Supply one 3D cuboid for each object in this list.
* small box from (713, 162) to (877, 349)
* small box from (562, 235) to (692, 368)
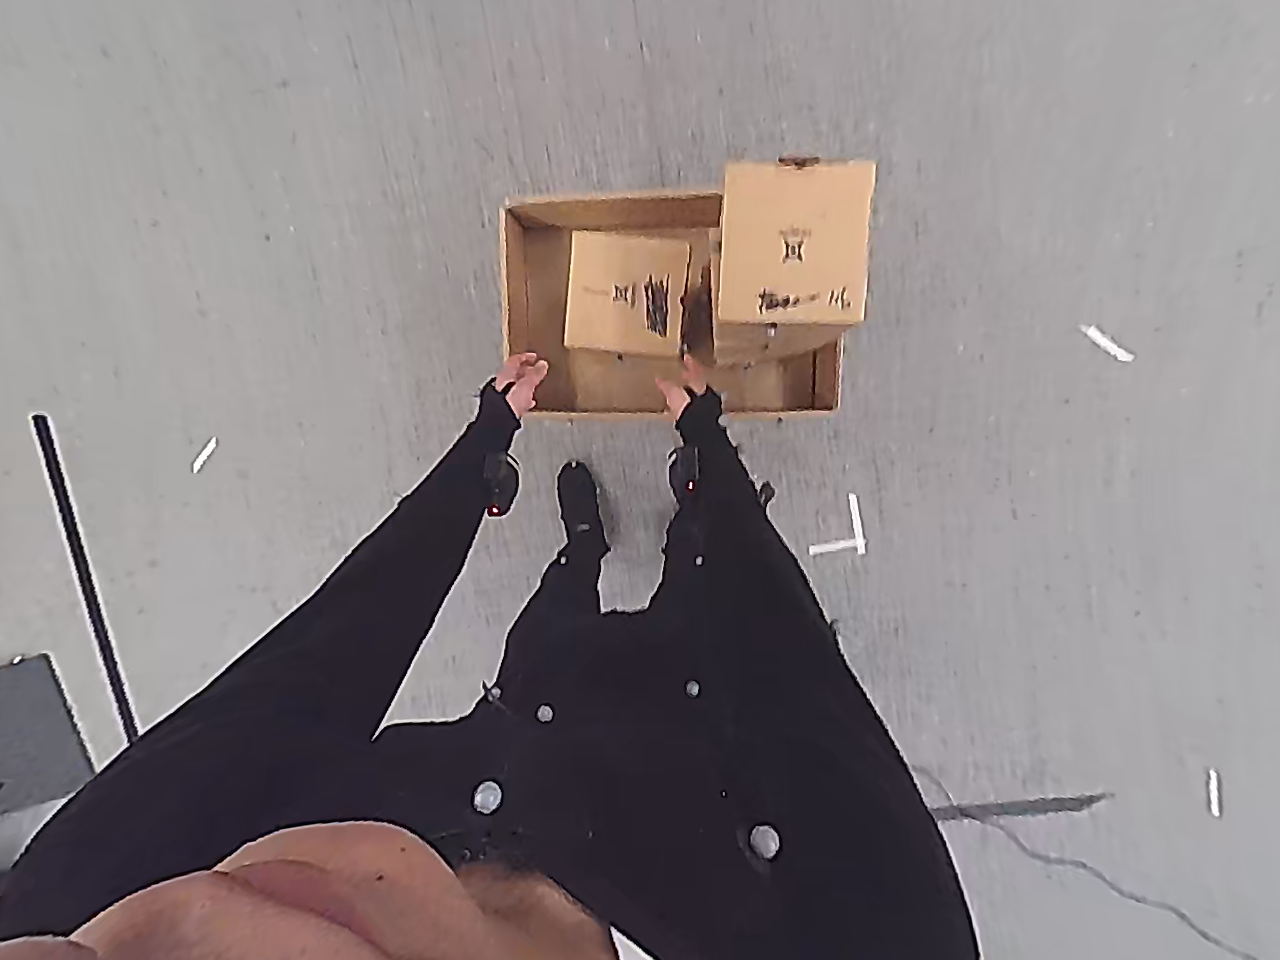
[{"bbox_3d":[0.180,-0.268,0.678,0.168,0.176,0.179,3,96,7],"label":"small box"},{"bbox_3d":[-0.016,-0.273,0.864,0.179,0.176,0.168,6,97,3],"label":"small box"}]
